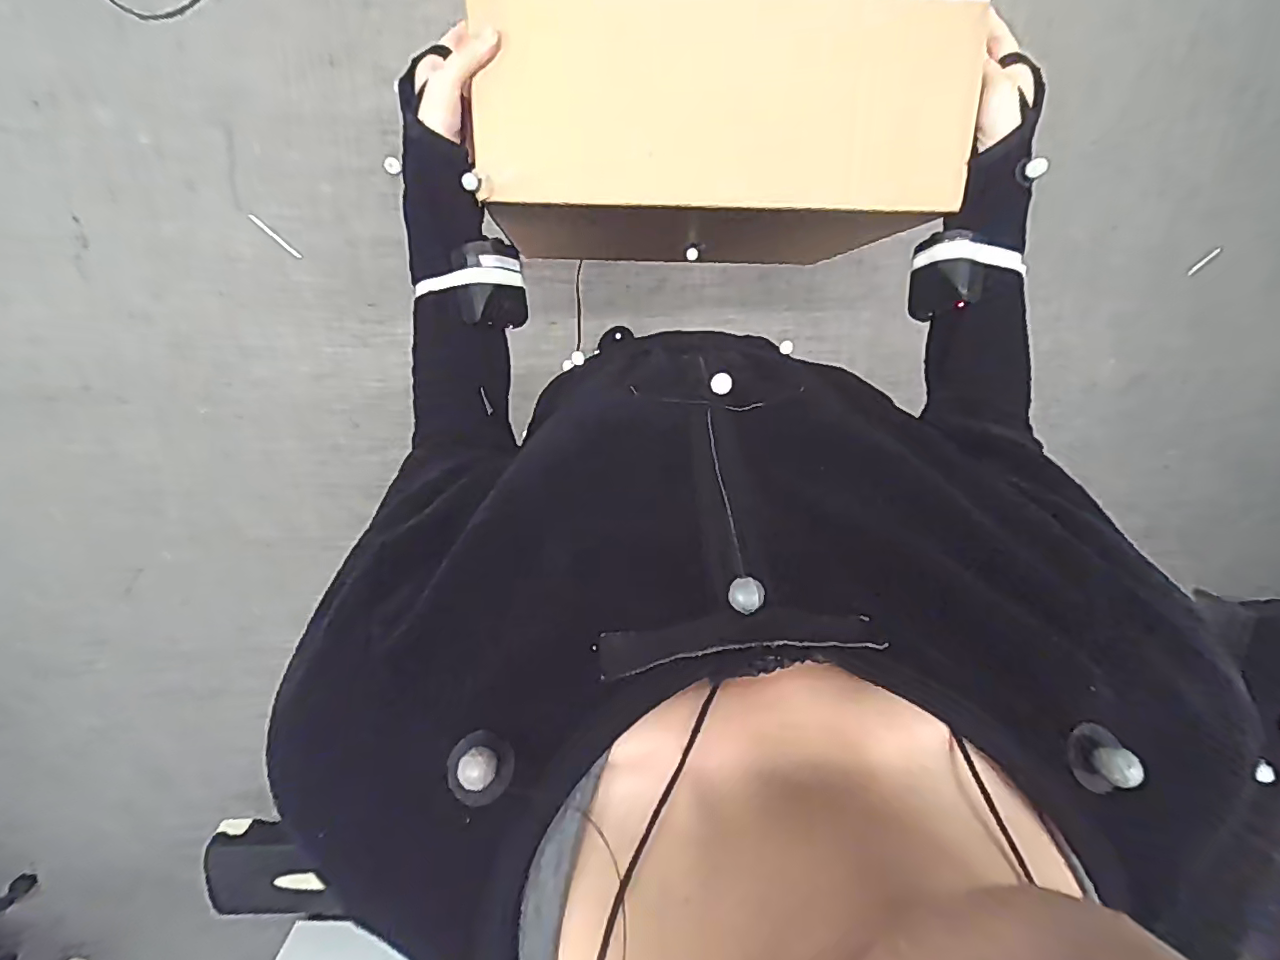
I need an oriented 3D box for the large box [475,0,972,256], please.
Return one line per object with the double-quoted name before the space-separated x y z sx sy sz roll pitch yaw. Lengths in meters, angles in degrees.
"large box" 0.062 -0.417 0.566 0.408 0.320 0.320 -1 104 -4
